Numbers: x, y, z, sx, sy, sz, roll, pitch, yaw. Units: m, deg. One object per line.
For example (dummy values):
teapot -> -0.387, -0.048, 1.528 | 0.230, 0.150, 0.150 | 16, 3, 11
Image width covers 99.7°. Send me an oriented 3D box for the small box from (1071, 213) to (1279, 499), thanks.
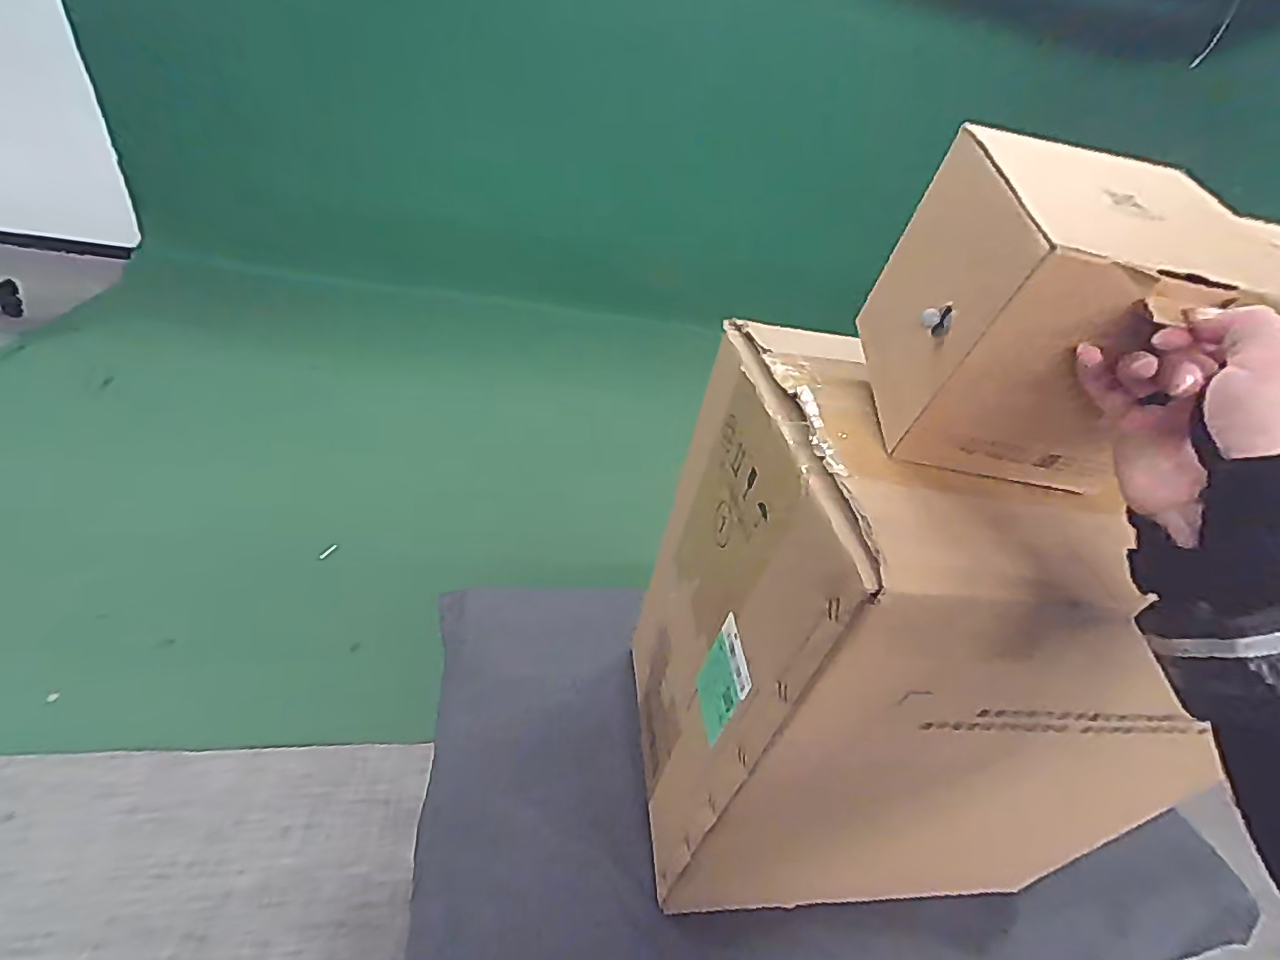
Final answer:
small box -> 0.520, -0.099, 0.454 | 0.179, 0.176, 0.168 | 5, 44, -9
